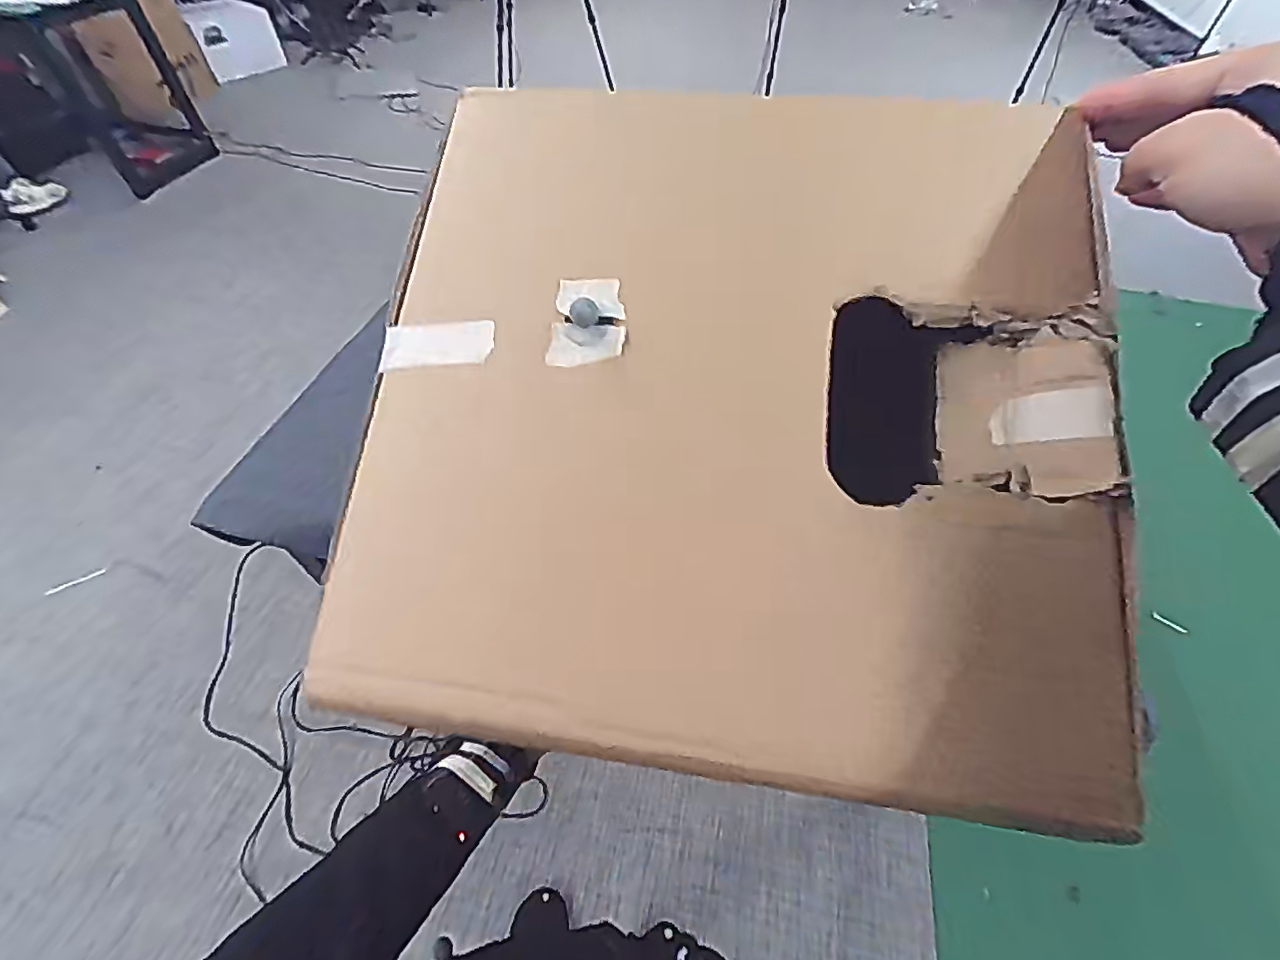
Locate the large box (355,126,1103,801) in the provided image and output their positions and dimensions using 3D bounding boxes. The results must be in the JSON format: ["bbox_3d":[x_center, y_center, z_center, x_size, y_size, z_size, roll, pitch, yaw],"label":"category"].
[{"bbox_3d":[0.047,0.008,0.436,0.320,0.408,0.320,6,76,4],"label":"large box"}]
